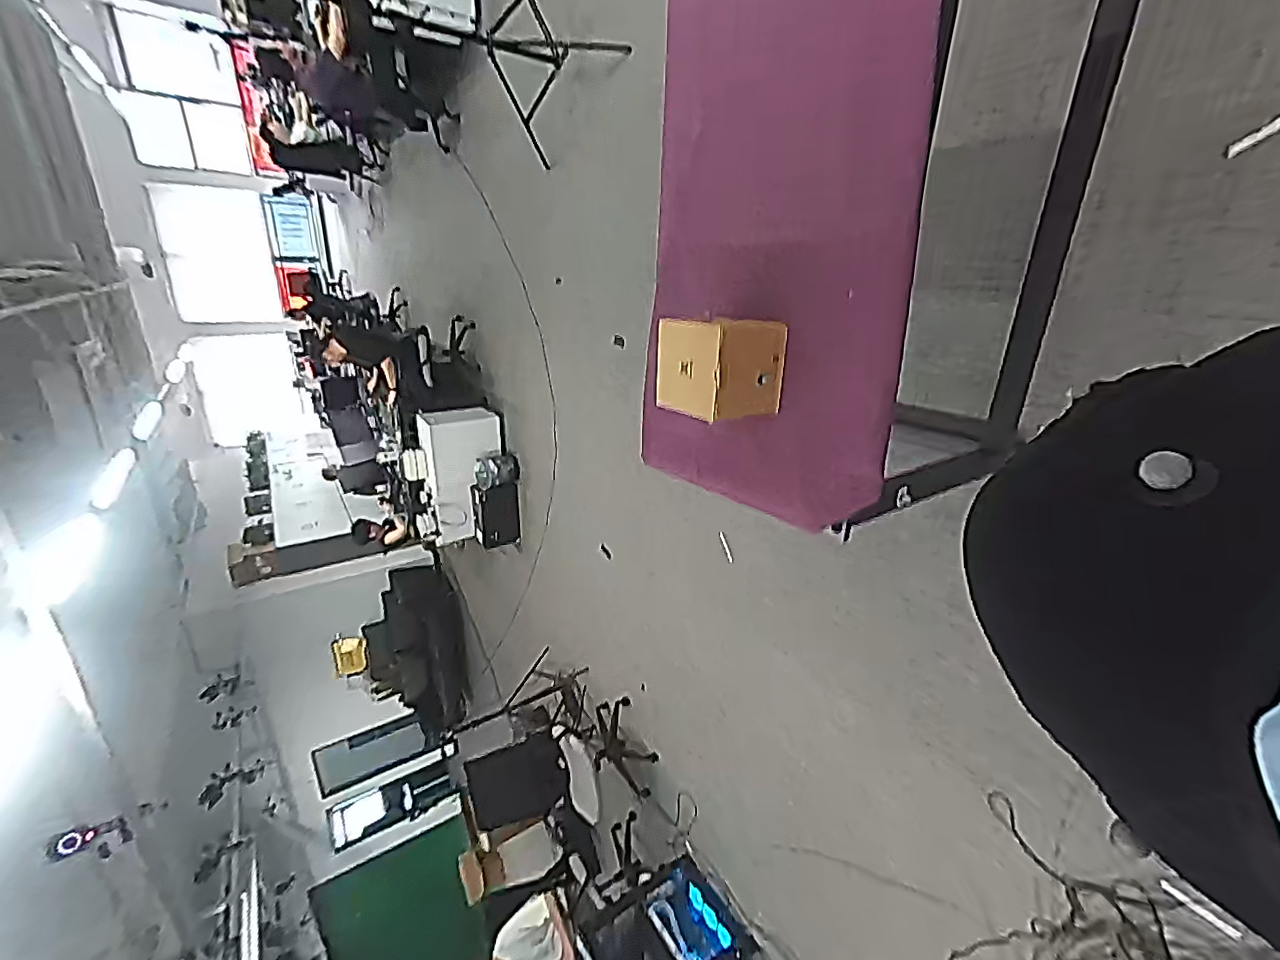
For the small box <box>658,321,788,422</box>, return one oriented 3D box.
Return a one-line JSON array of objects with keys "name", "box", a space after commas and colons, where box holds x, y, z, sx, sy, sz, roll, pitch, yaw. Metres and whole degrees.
[{"name": "small box", "box": [0.154, -0.215, 1.036, 0.179, 0.176, 0.168, 26, 121, 50]}]
